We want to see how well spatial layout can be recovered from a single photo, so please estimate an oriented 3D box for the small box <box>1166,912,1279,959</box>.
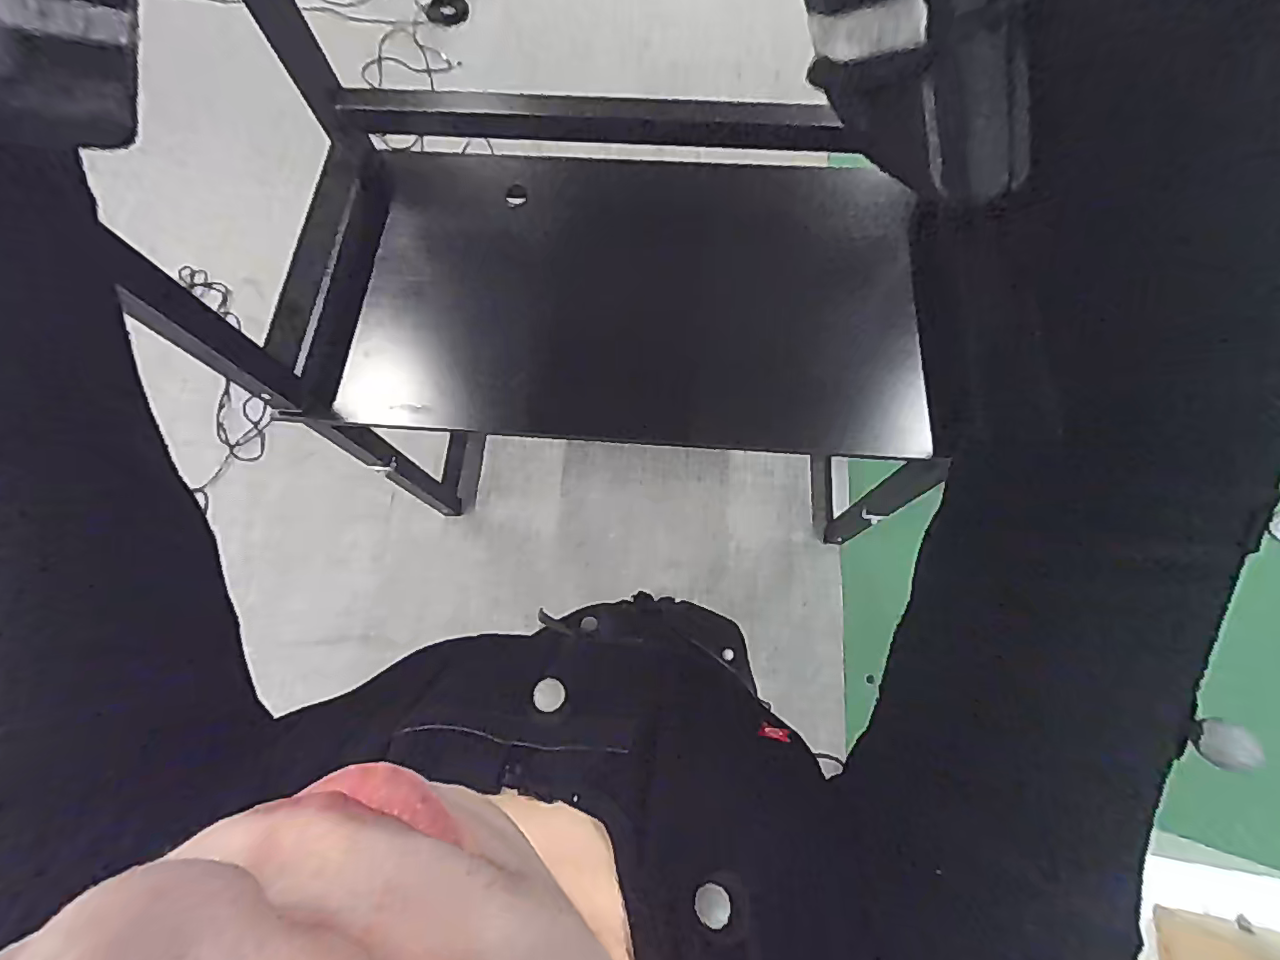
[{"bbox_3d":[0.804,0.675,0.665,0.179,0.176,0.168,9,73,5],"label":"small box"}]
